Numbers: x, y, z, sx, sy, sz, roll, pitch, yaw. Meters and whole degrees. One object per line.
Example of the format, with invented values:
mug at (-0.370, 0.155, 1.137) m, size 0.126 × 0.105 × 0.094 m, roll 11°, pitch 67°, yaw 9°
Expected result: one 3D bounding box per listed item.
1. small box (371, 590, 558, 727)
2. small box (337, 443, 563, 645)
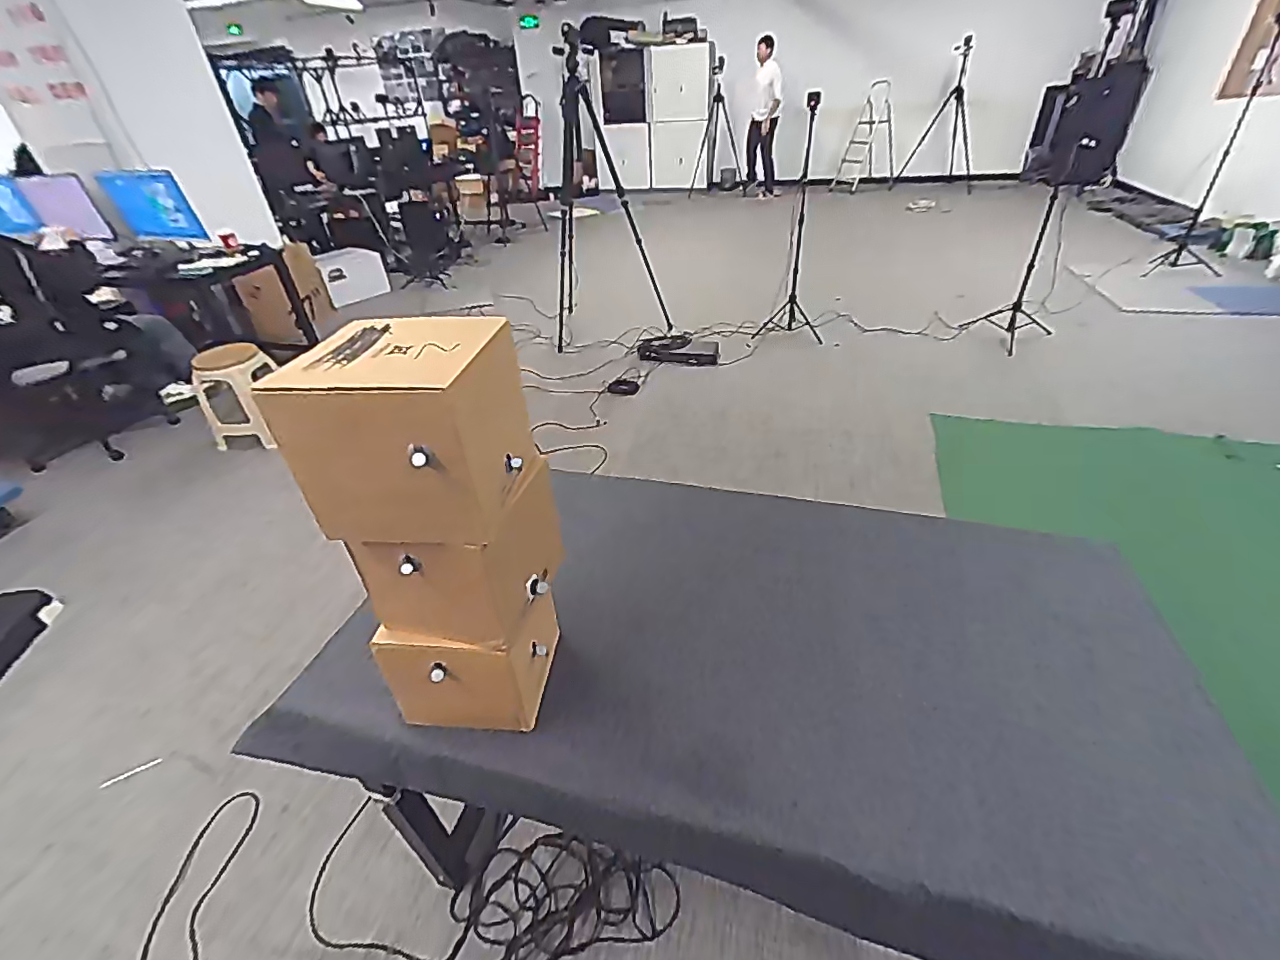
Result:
small box at (-0.218, 0.213, 0.732) m, size 0.179 × 0.176 × 0.168 m, roll 1°, pitch 35°, yaw 7°
small box at (-0.209, 0.074, 0.647) m, size 0.179 × 0.176 × 0.168 m, roll 7°, pitch 37°, yaw 13°
